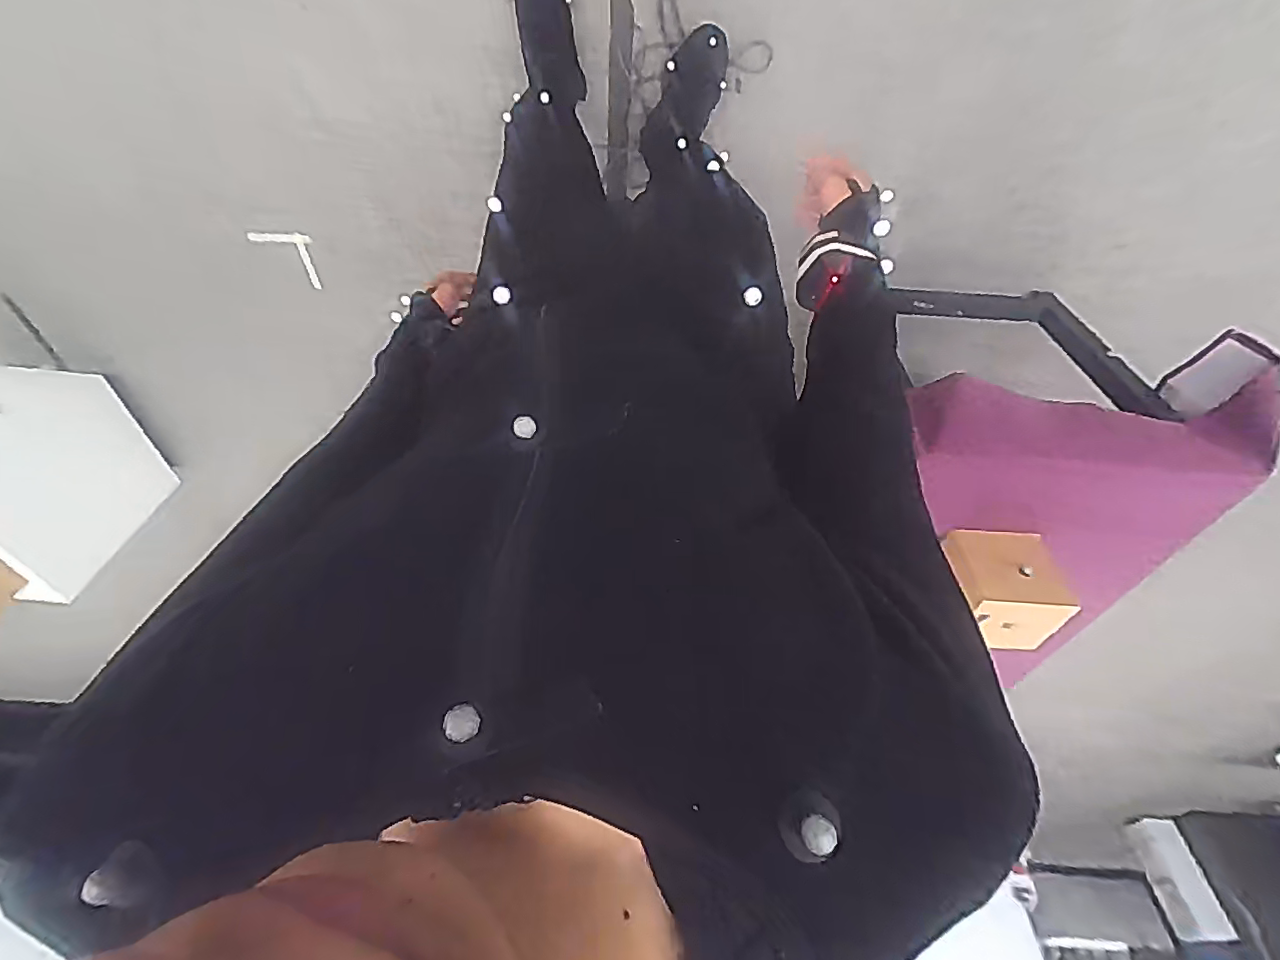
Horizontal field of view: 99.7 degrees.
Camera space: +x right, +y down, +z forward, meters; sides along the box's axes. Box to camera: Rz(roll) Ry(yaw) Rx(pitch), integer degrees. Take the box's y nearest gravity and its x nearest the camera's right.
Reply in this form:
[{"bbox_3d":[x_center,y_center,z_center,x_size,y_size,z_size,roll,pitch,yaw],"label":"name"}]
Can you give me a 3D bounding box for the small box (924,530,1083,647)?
[{"bbox_3d":[0.705,0.213,1.074,0.179,0.176,0.168,2,135,1],"label":"small box"}]
